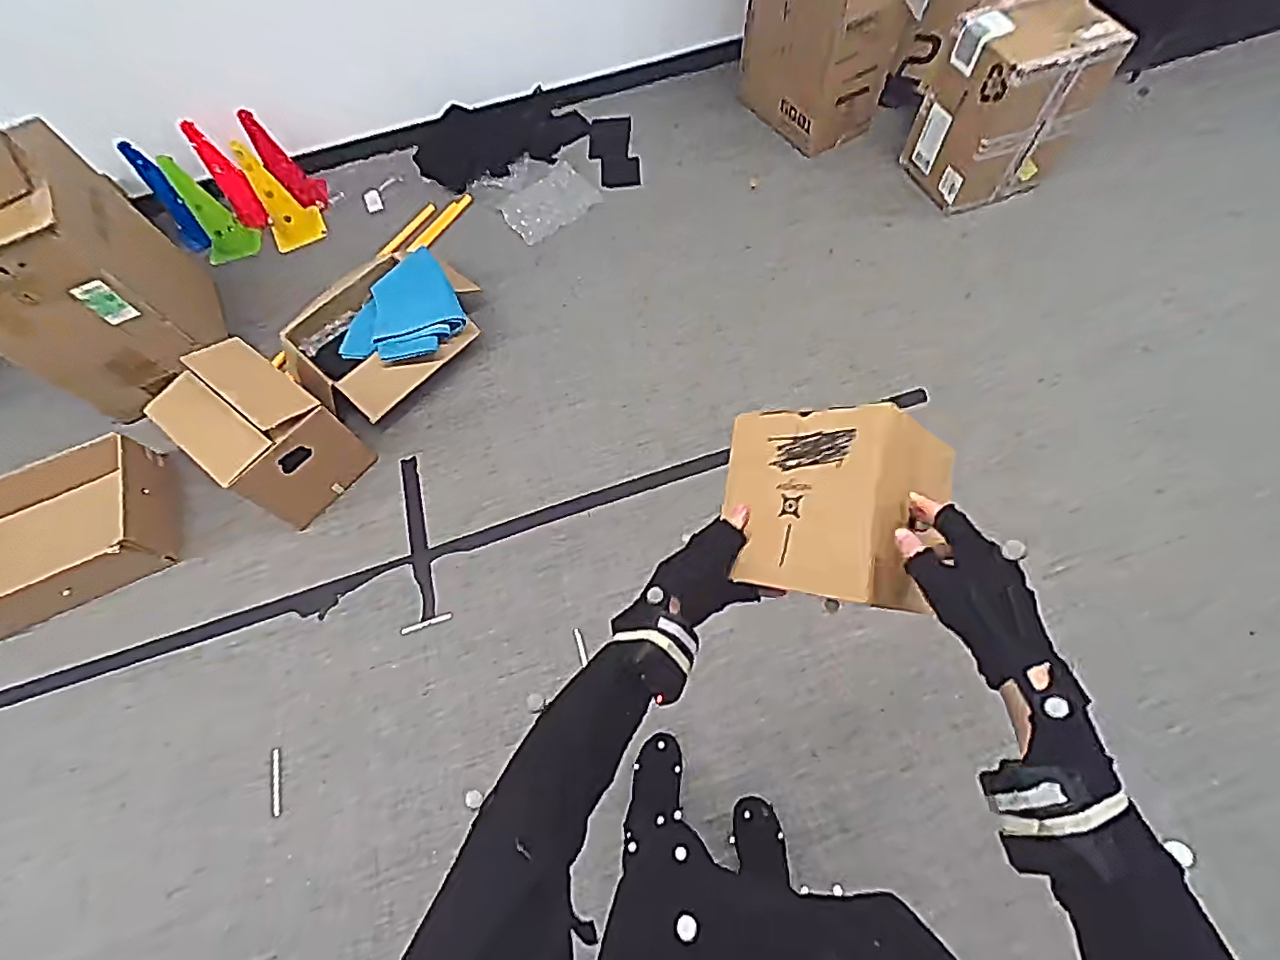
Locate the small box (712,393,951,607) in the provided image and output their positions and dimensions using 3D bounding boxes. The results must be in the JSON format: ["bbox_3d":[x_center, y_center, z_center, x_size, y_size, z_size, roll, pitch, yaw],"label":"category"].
[{"bbox_3d":[0.199,0.027,0.555,0.168,0.176,0.179,0,79,50],"label":"small box"}]
